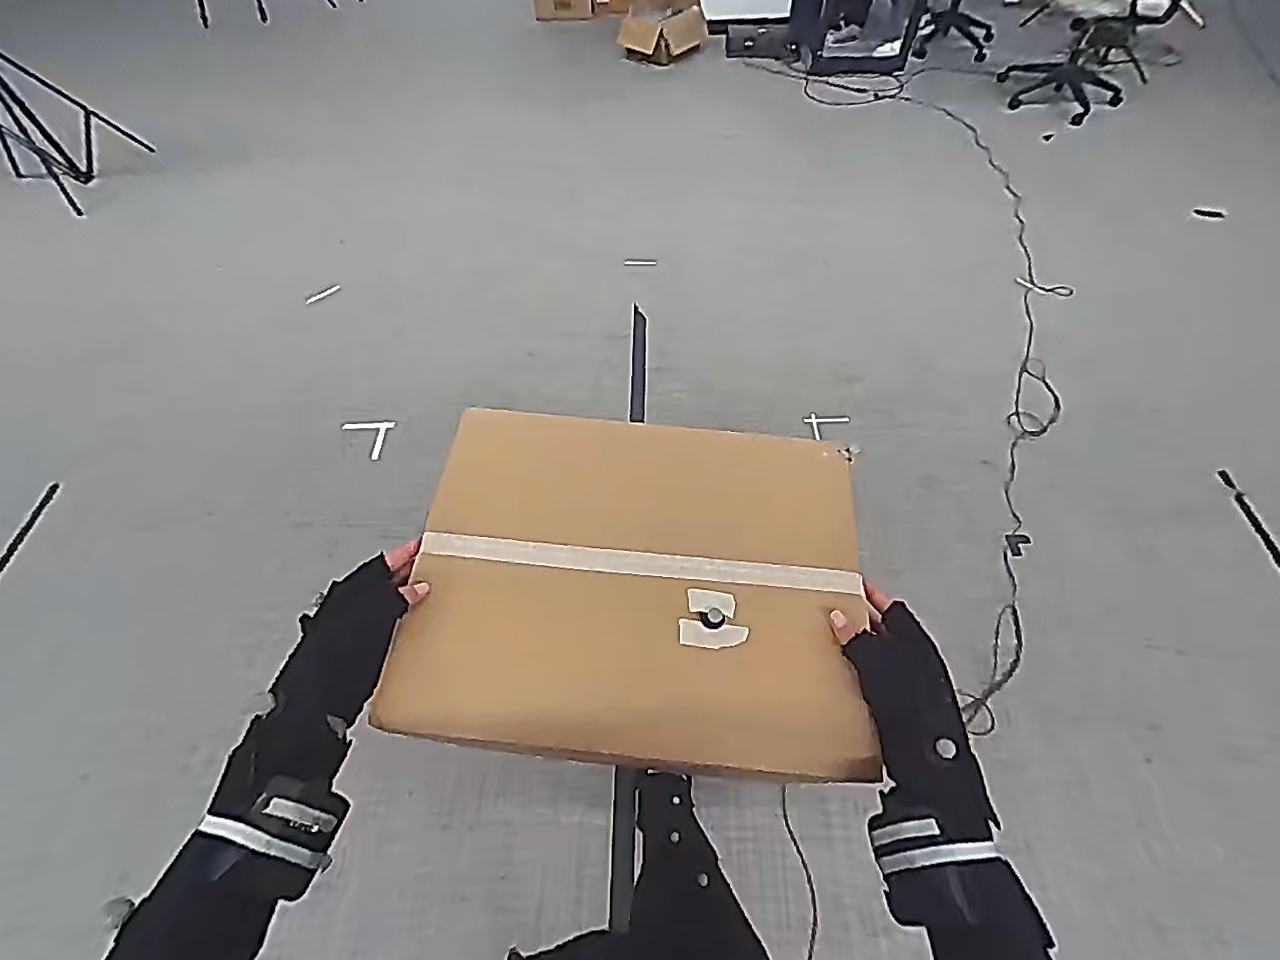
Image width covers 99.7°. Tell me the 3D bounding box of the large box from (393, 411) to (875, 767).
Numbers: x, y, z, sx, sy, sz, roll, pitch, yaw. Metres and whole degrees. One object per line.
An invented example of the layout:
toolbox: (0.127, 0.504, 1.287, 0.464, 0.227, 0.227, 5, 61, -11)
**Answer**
large box: (-0.001, 0.146, 0.638, 0.408, 0.320, 0.320, 6, 61, 1)
